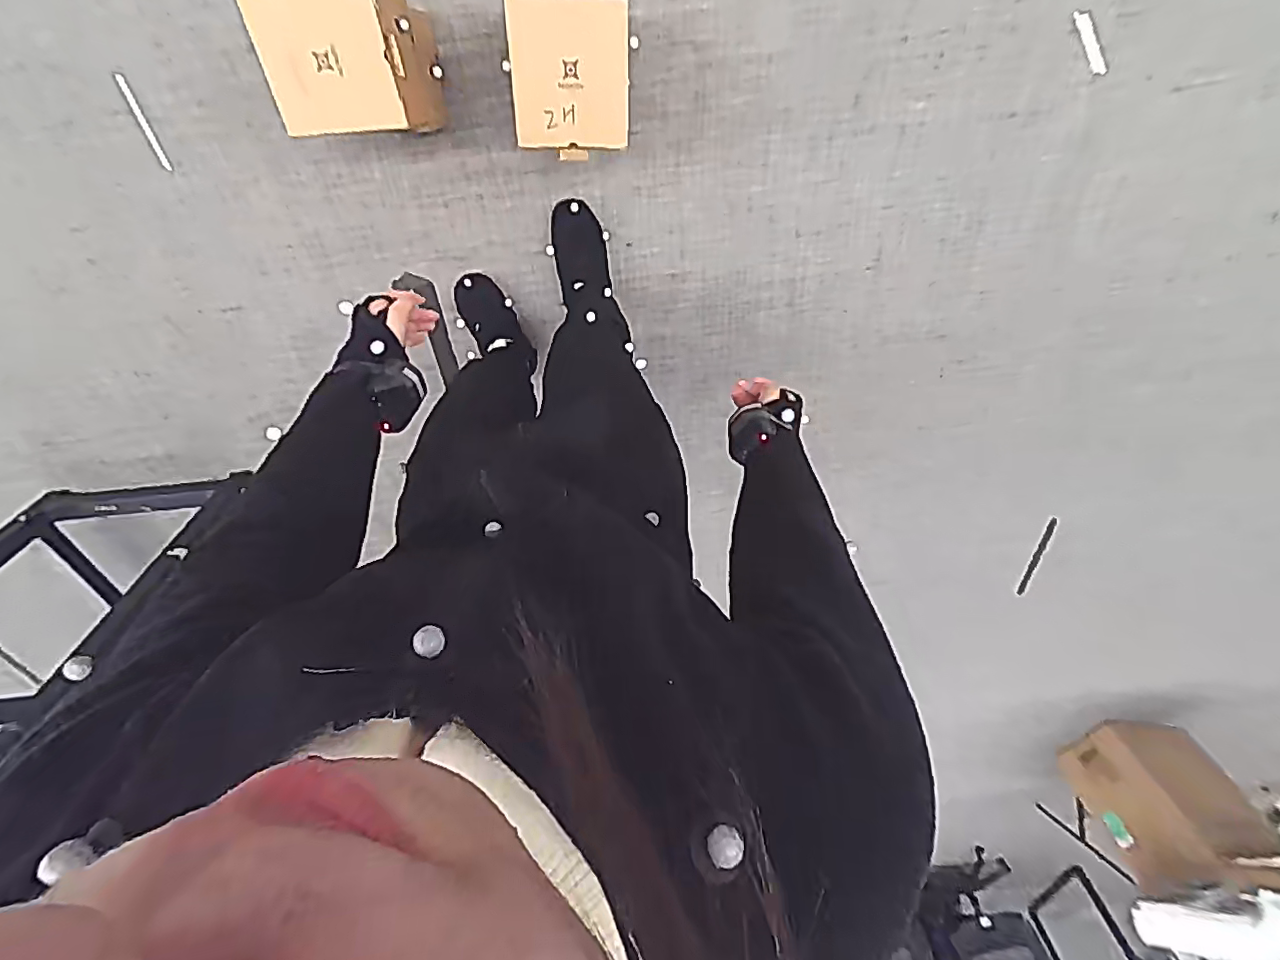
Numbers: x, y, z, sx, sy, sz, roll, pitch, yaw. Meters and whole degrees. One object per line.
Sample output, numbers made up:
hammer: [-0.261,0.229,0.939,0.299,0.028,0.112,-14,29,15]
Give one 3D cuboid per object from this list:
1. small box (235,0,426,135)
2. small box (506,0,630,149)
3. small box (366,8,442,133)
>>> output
small box: [-0.427,-0.611,0.784,0.179,0.176,0.168,-5,127,-1]
small box: [-0.103,-0.611,0.814,0.168,0.176,0.179,-1,127,-4]
small box: [-0.448,-0.699,0.921,0.179,0.176,0.168,-3,127,-5]
